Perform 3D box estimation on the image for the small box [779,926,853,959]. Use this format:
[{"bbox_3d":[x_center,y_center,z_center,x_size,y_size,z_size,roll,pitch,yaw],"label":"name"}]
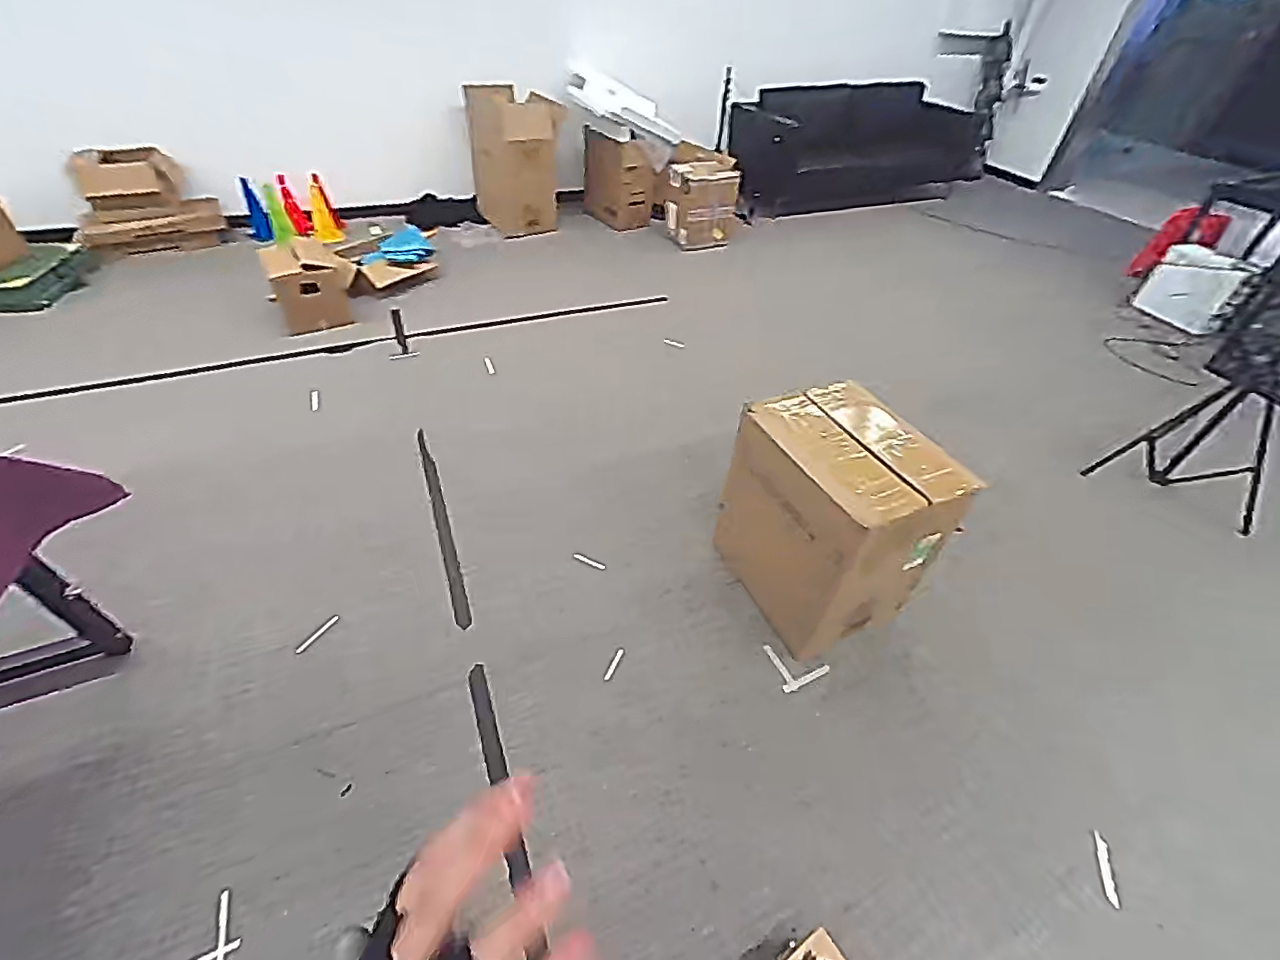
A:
[{"bbox_3d":[0.349,1.021,1.049,0.168,0.176,0.179,-23,50,-25],"label":"small box"}]
